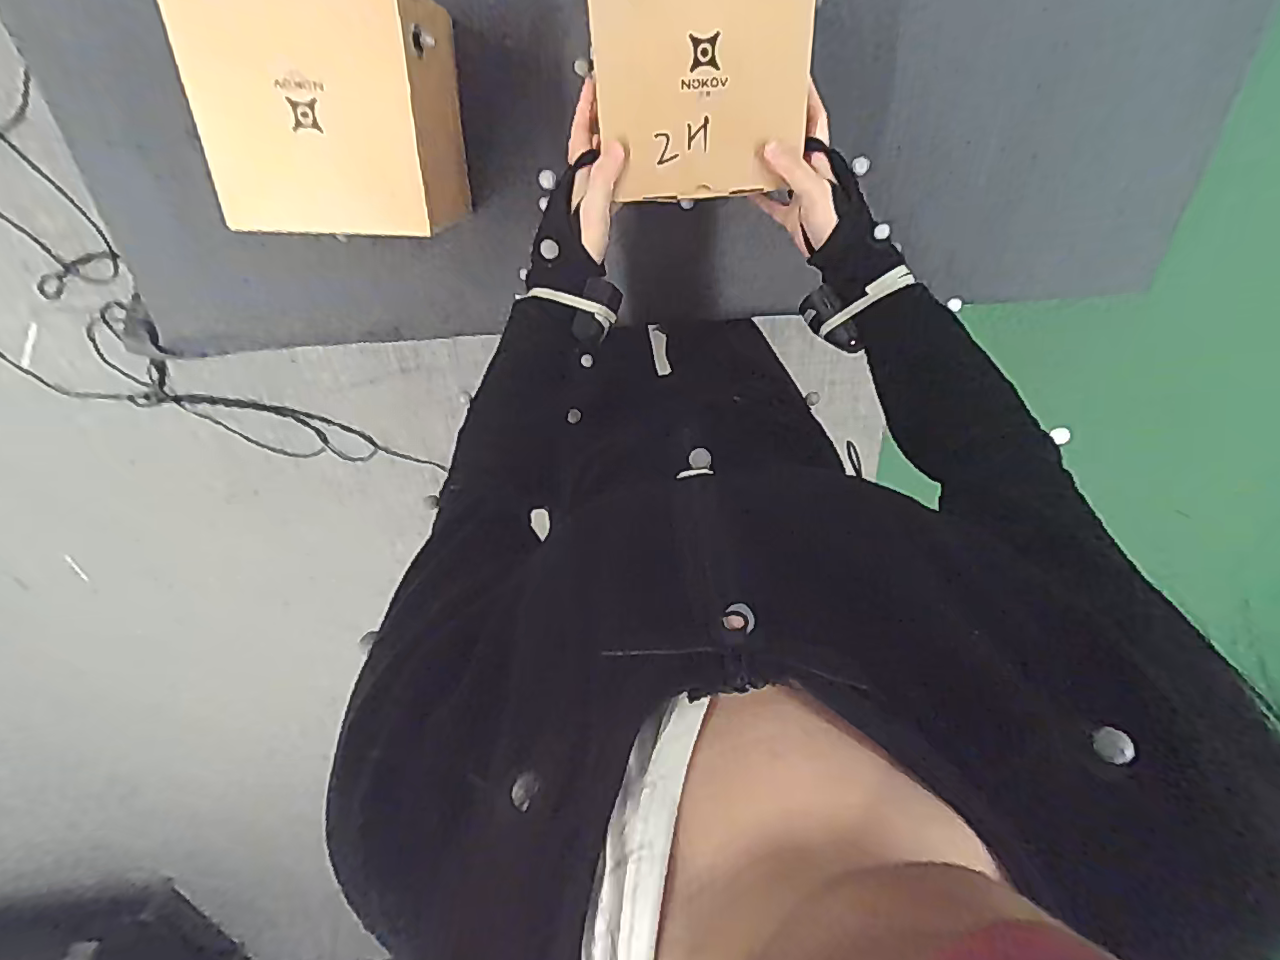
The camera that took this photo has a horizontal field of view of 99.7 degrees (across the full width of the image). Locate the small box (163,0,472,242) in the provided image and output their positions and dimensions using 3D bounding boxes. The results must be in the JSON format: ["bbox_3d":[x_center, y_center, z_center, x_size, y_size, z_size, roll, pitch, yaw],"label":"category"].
[{"bbox_3d":[-0.257,-0.320,0.483,0.168,0.176,0.179,0,119,-3],"label":"small box"}]

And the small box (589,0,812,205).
[{"bbox_3d":[0.043,-0.352,0.482,0.168,0.176,0.179,-5,121,0],"label":"small box"}]
